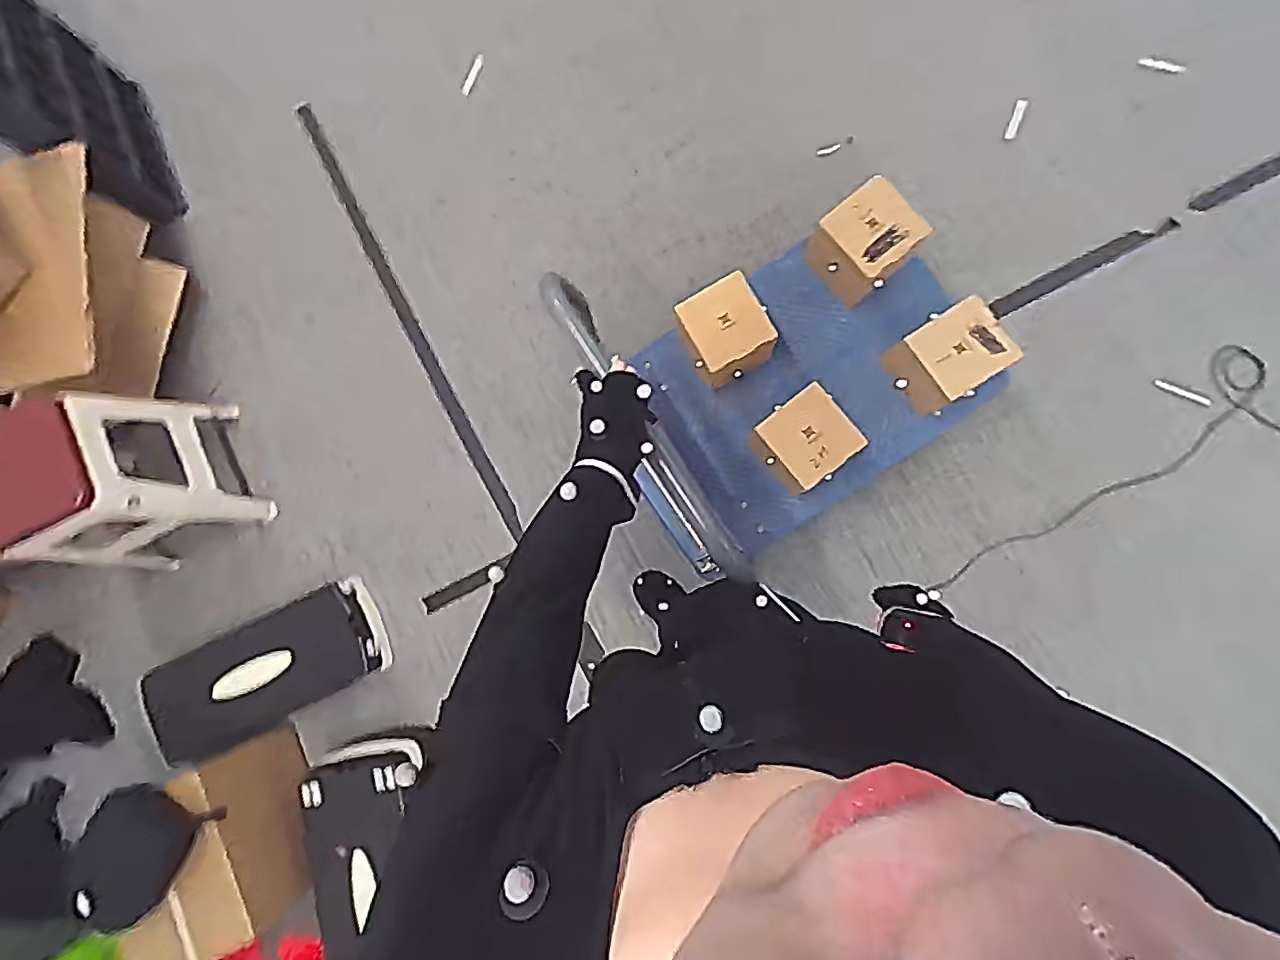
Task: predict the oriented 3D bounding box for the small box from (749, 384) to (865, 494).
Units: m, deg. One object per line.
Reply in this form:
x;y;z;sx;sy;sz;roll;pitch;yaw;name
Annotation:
0.365;-0.082;1.223;0.168;0.176;0.179;-38;82;2;small box

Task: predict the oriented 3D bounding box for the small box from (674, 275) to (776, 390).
0.190;-0.335;1.264;0.168;0.176;0.179;-29;85;2;small box

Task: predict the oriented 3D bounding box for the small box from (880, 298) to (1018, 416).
0.676;-0.265;1.207;0.179;0.176;0.168;-33;83;4;small box
